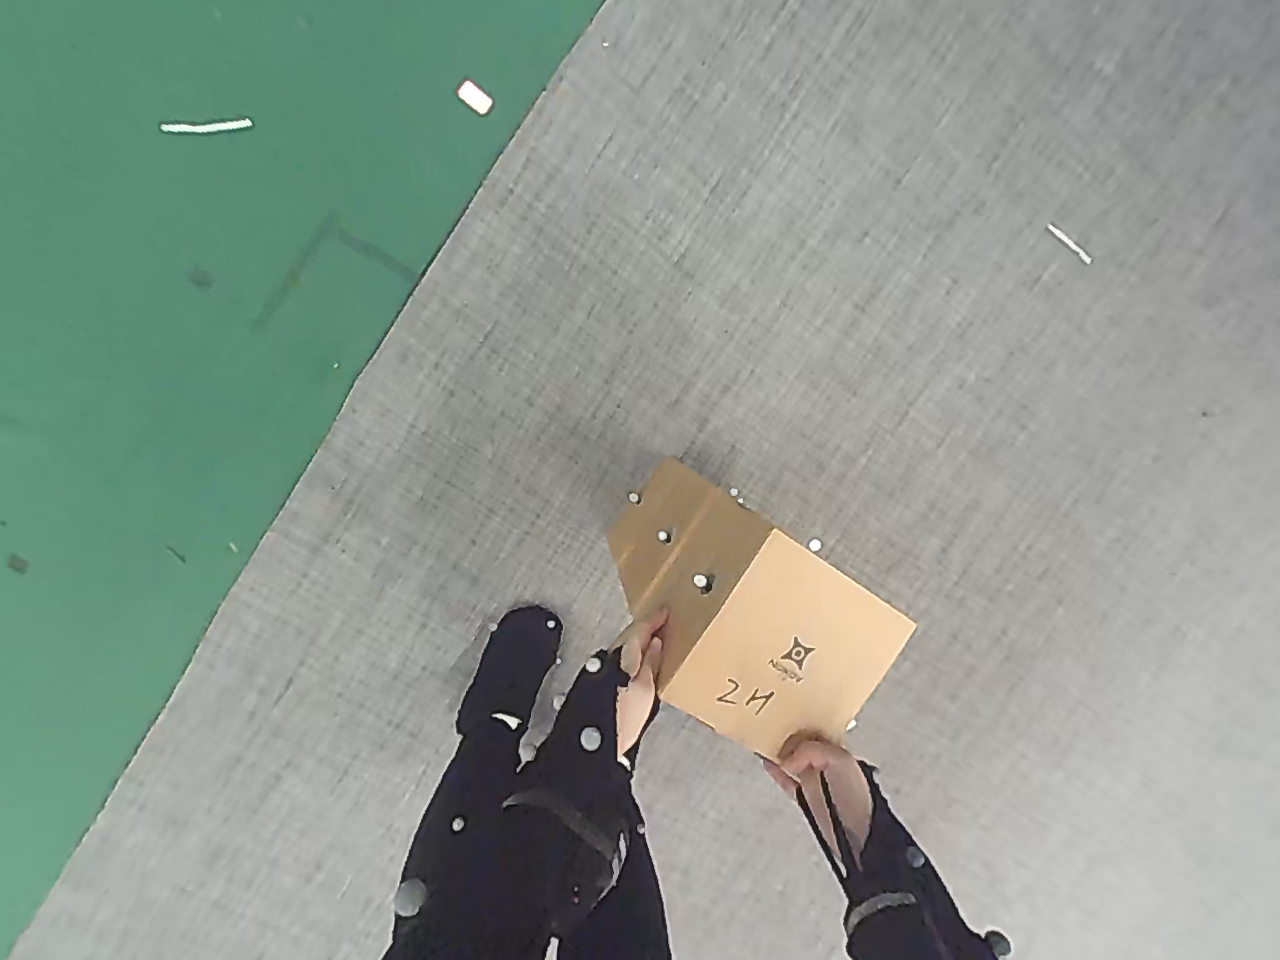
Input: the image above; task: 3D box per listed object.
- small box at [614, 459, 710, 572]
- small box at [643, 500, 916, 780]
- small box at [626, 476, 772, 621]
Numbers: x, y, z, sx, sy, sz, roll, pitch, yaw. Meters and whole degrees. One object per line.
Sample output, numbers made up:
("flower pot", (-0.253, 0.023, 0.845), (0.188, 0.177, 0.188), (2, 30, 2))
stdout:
("small box", (0.072, 0.086, 0.855), (0.168, 0.176, 0.179), (36, 93, -11))
("small box", (0.117, 0.139, 0.535), (0.168, 0.176, 0.179), (33, 93, -10))
("small box", (0.094, 0.111, 0.696), (0.168, 0.176, 0.179), (33, 93, -10))
